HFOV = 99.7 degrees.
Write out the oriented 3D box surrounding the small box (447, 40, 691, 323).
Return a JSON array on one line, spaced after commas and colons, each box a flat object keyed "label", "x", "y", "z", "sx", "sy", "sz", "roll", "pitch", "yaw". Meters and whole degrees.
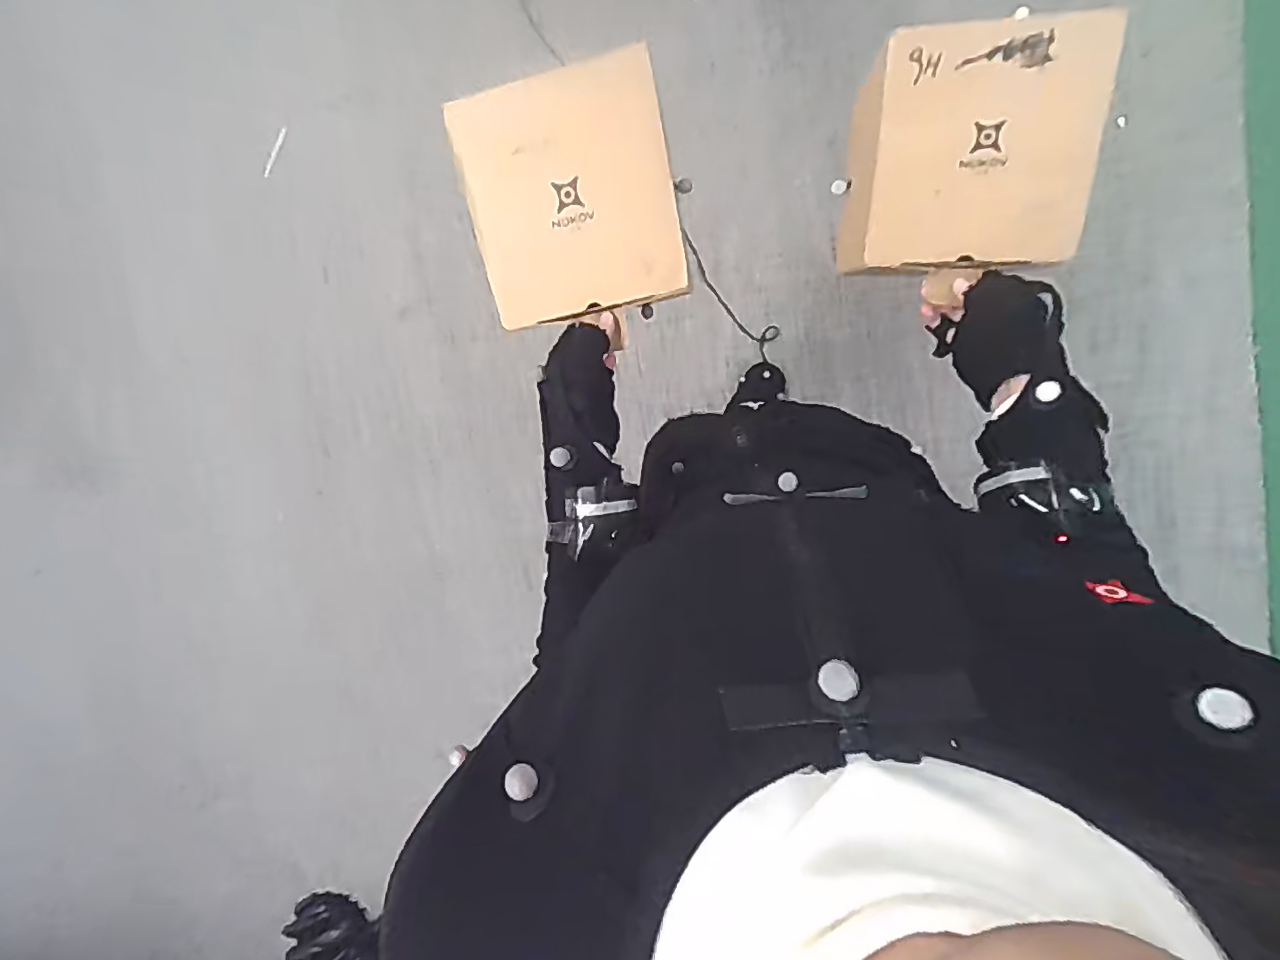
[{"label": "small box", "x": -0.047, "y": -0.257, "z": 0.511, "sx": 0.168, "sy": 0.176, "sz": 0.179, "roll": -10, "pitch": 107, "yaw": 10}]
